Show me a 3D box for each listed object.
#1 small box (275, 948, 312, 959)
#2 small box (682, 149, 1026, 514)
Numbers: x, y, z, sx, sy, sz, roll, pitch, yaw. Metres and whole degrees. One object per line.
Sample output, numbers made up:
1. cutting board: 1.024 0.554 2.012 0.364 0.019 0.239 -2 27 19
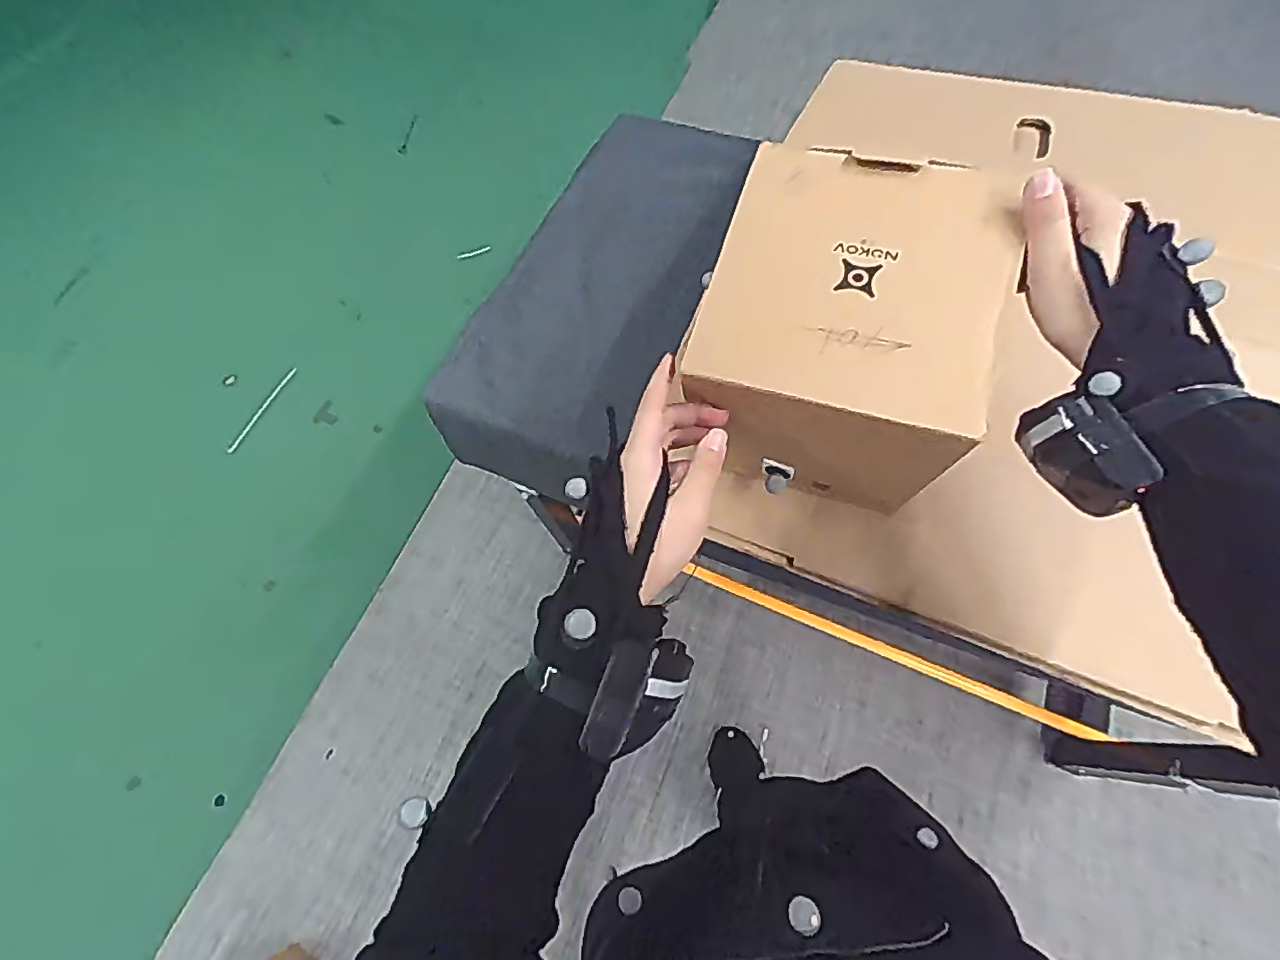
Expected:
1. small box: -0.660 0.996 0.961 0.168 0.176 0.179 22 70 15
2. small box: 0.138 -0.094 0.395 0.168 0.176 0.179 17 76 14
